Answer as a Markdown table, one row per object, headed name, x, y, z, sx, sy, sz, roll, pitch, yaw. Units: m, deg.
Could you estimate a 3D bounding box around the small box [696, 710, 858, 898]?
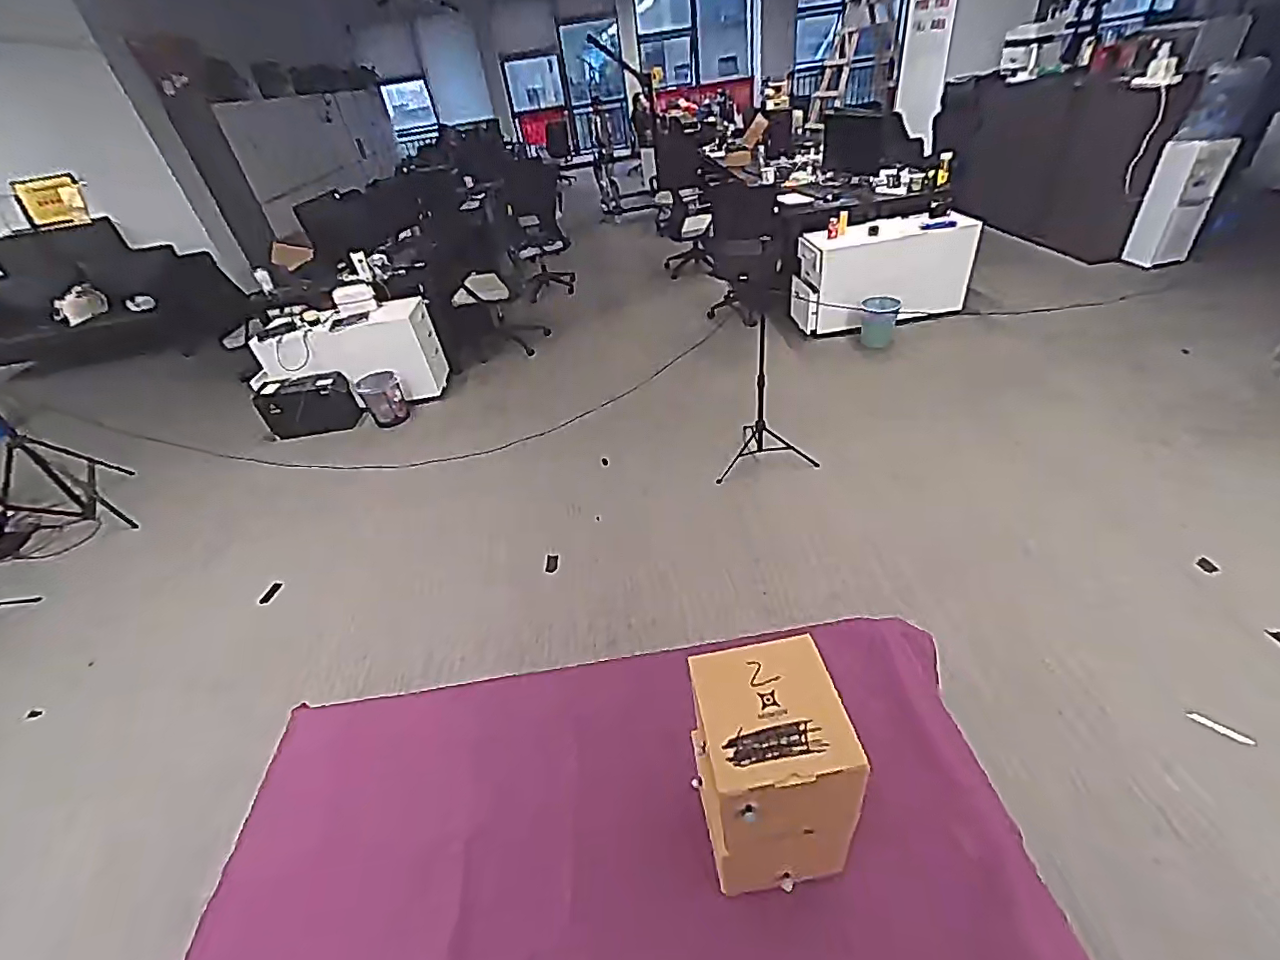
| name | x | y | z | sx | sy | sz | roll | pitch | yaw |
| --- | --- | --- | --- | --- | --- | --- | --- | --- | --- |
| small box | 0.184 | 0.462 | 0.774 | 0.179 | 0.176 | 0.168 | -11 | 37 | -2 |
